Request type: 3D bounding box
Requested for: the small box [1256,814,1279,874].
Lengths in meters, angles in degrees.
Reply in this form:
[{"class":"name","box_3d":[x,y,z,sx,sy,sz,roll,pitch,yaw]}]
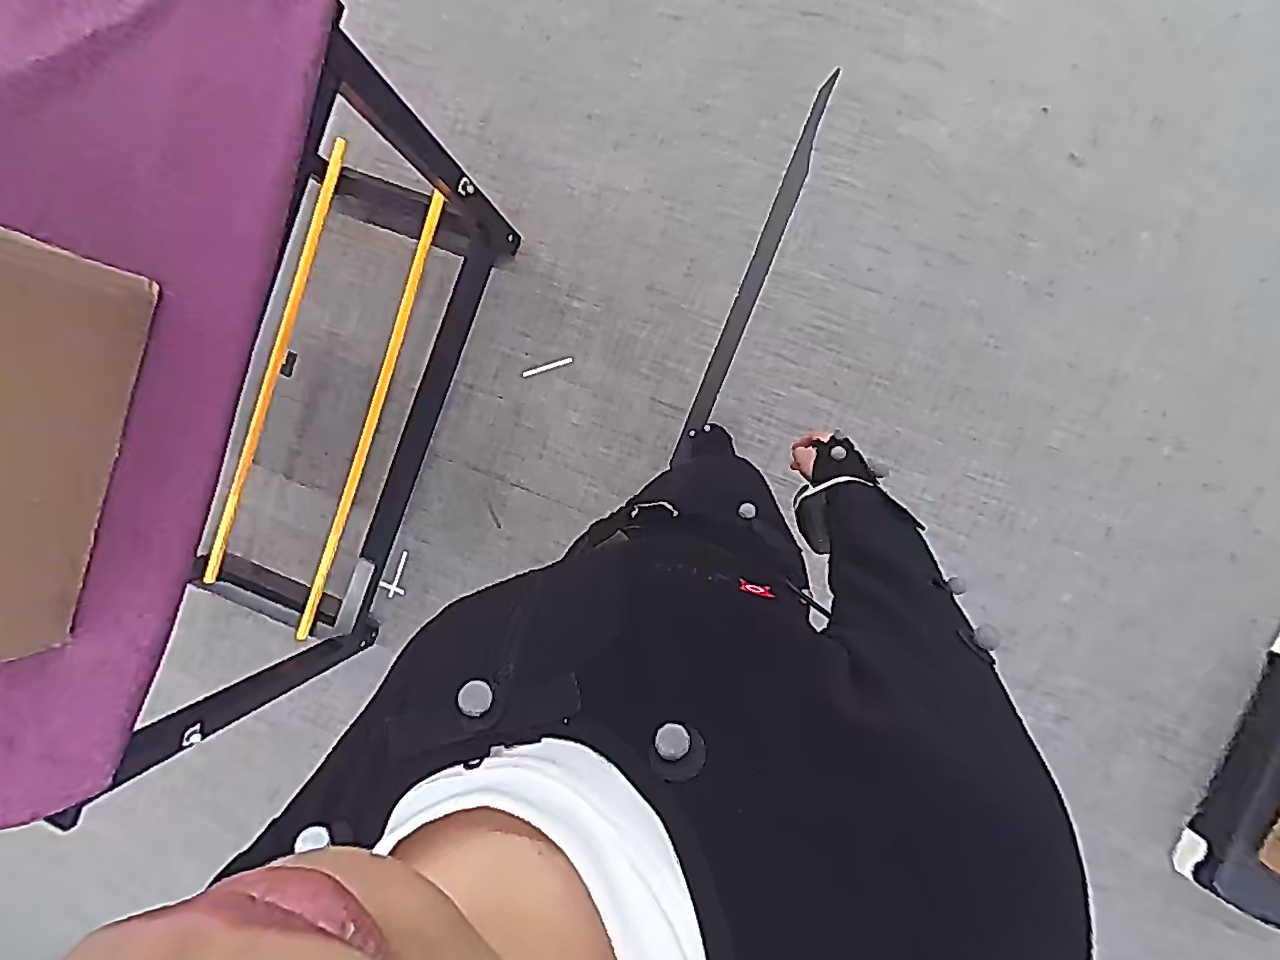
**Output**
[{"class":"small box","box_3d":[1.414,0.771,1.069,0.179,0.176,0.168,25,95,5]}]
